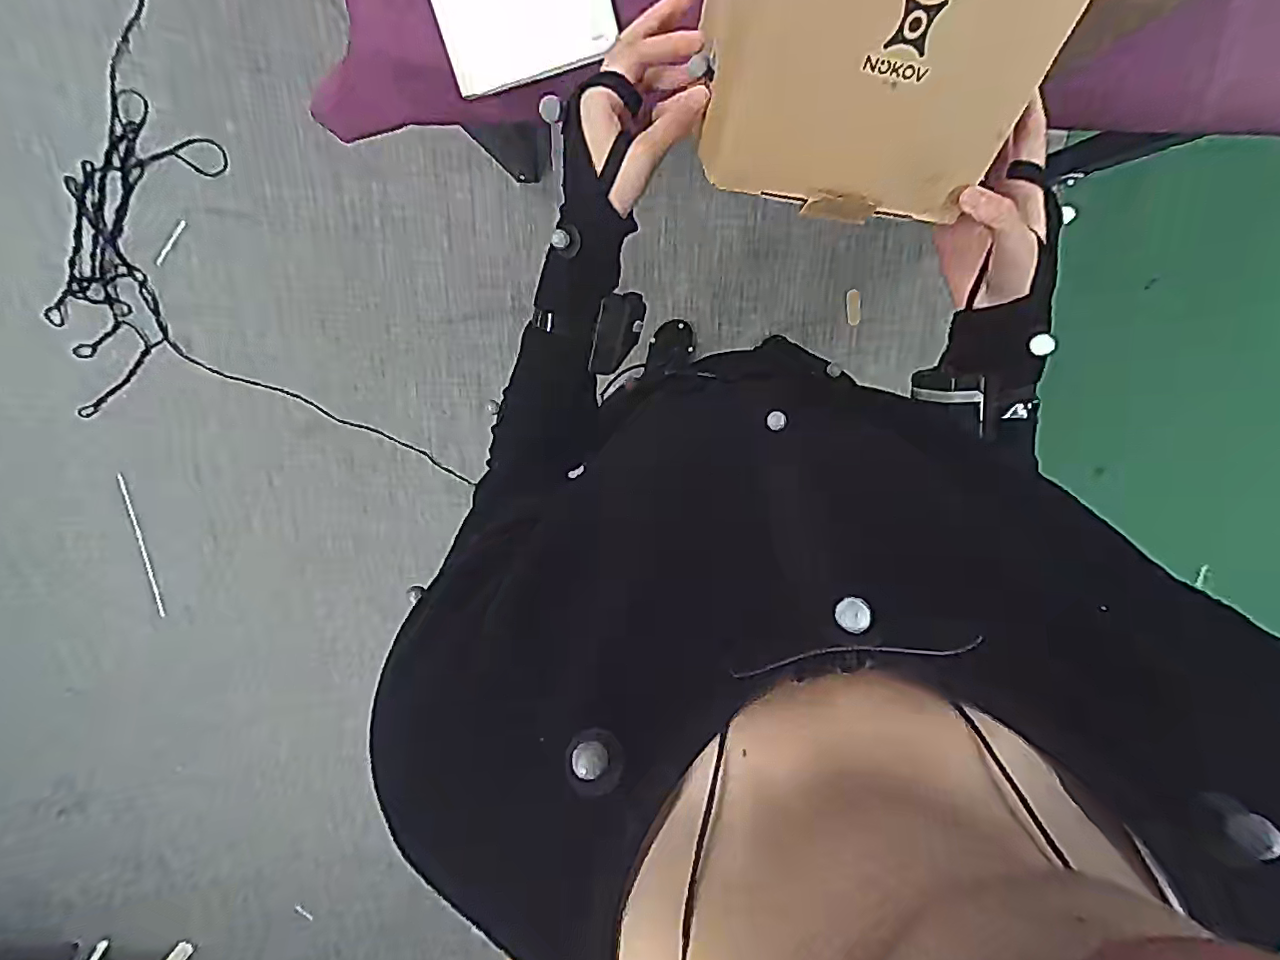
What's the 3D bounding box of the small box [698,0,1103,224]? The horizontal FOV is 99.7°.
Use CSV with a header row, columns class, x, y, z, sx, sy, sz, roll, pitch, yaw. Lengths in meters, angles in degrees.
class,x,y,z,sx,sy,sz,roll,pitch,yaw
small box,0.137,-0.287,0.321,0.168,0.176,0.179,4,138,-10
